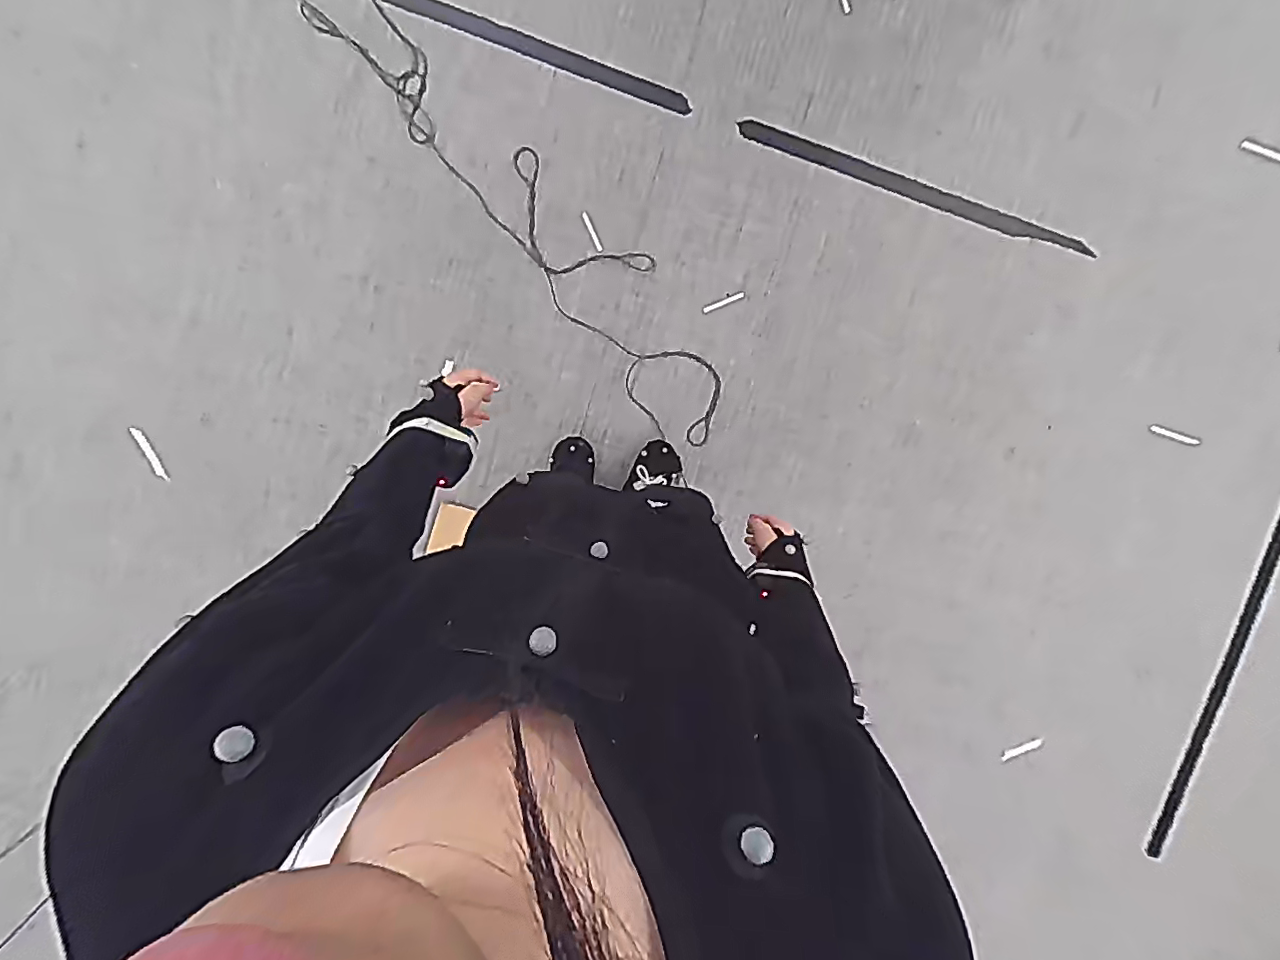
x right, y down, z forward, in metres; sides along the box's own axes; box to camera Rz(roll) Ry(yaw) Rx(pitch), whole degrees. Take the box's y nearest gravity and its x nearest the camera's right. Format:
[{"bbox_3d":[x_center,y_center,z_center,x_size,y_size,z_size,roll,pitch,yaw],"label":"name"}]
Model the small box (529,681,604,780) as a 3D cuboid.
[{"bbox_3d":[-0.193,0.664,1.449,0.168,0.176,0.179,10,94,-4],"label":"small box"}]
